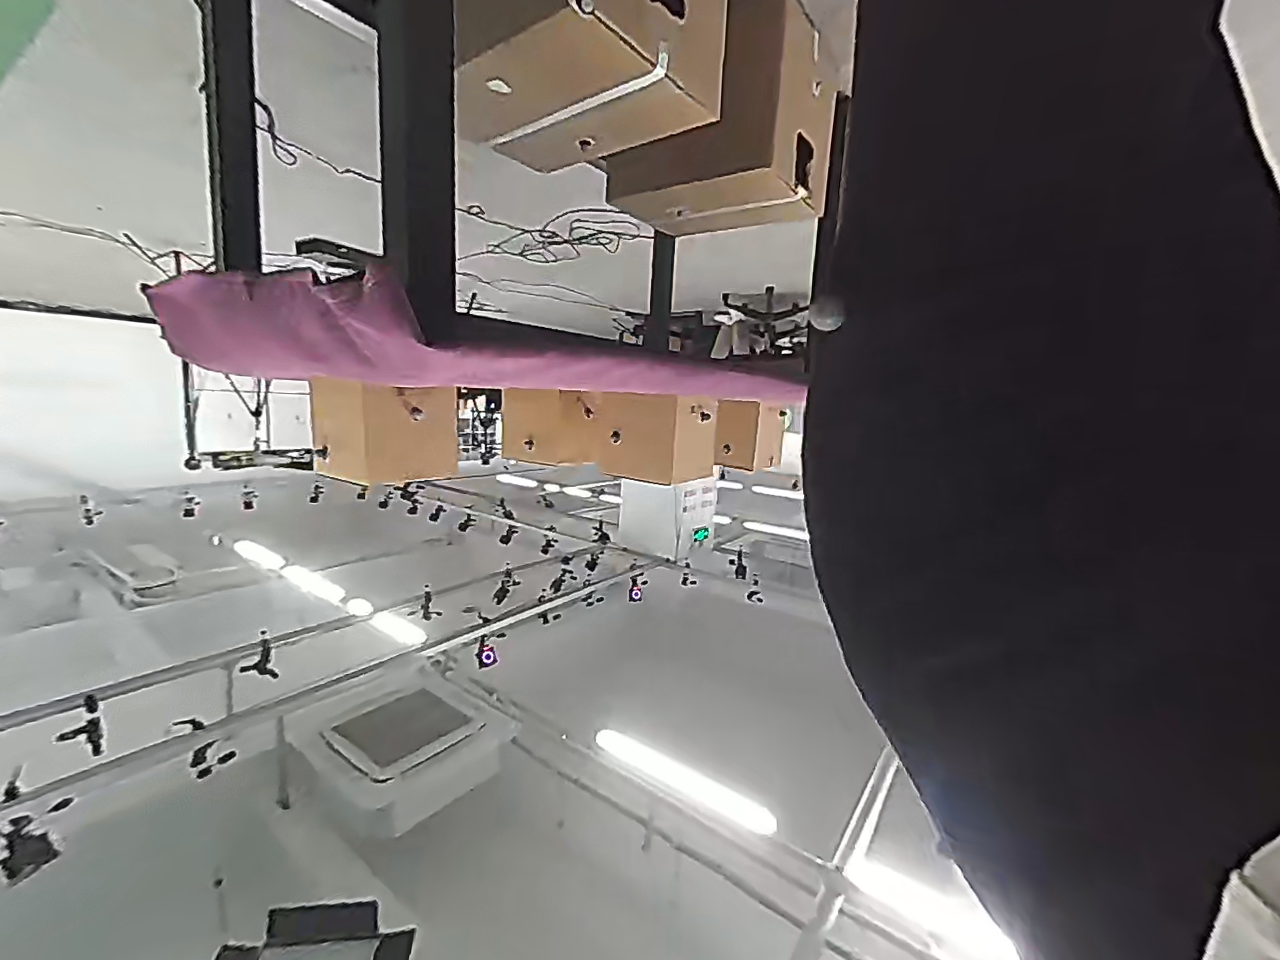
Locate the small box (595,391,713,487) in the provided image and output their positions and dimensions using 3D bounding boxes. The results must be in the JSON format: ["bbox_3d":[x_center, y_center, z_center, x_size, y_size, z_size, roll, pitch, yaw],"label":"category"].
[{"bbox_3d":[0.031,-0.089,1.078,0.179,0.176,0.168,10,-168,34],"label":"small box"}]

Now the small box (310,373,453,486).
[{"bbox_3d":[-0.440,-0.092,0.924,0.179,0.176,0.168,9,-168,34],"label":"small box"}]

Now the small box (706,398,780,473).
[{"bbox_3d":[0.245,-0.119,1.370,0.179,0.176,0.168,12,-168,36],"label":"small box"}]

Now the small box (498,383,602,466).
[{"bbox_3d":[-0.199,-0.128,1.224,0.179,0.176,0.168,8,-171,34],"label":"small box"}]

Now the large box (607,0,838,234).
[{"bbox_3d":[0.180,-0.771,1.208,0.408,0.320,0.320,11,-169,35],"label":"large box"}]
